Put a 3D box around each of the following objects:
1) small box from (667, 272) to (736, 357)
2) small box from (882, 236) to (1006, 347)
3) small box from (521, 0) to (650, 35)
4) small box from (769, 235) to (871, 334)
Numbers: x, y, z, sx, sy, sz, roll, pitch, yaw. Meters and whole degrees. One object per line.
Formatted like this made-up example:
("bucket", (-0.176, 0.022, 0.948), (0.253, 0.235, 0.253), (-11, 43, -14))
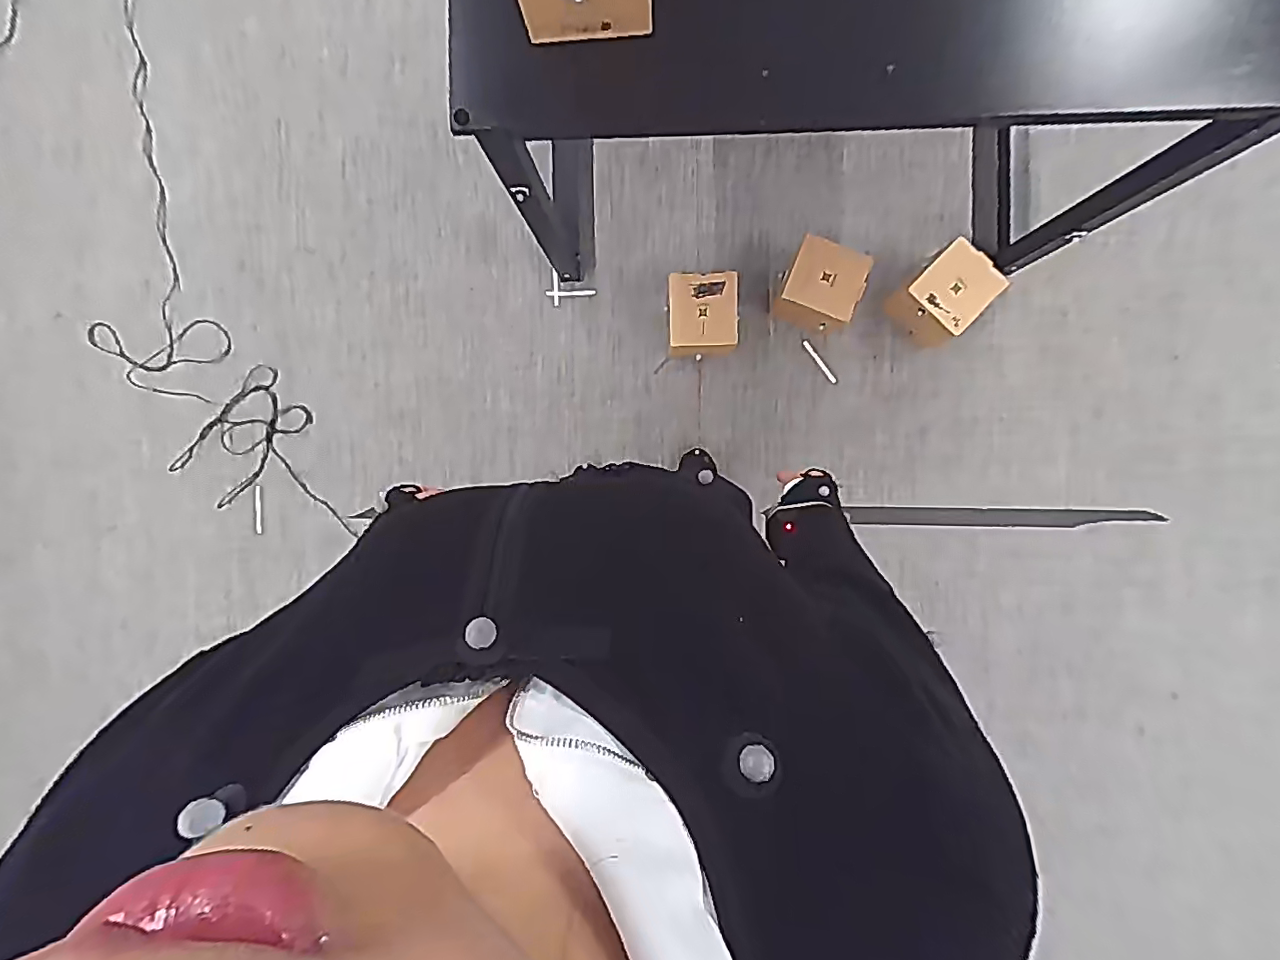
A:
("small box", (0.154, -0.419, 1.387), (0.168, 0.176, 0.179), (-1, 94, 3))
("small box", (0.750, -0.463, 1.356), (0.168, 0.176, 0.179), (43, 94, 0))
("small box", (-0.074, -0.682, 0.652), (0.168, 0.176, 0.179), (-2, 92, 2))
("small box", (0.448, -0.485, 1.372), (0.179, 0.176, 0.168), (21, 93, 2))
